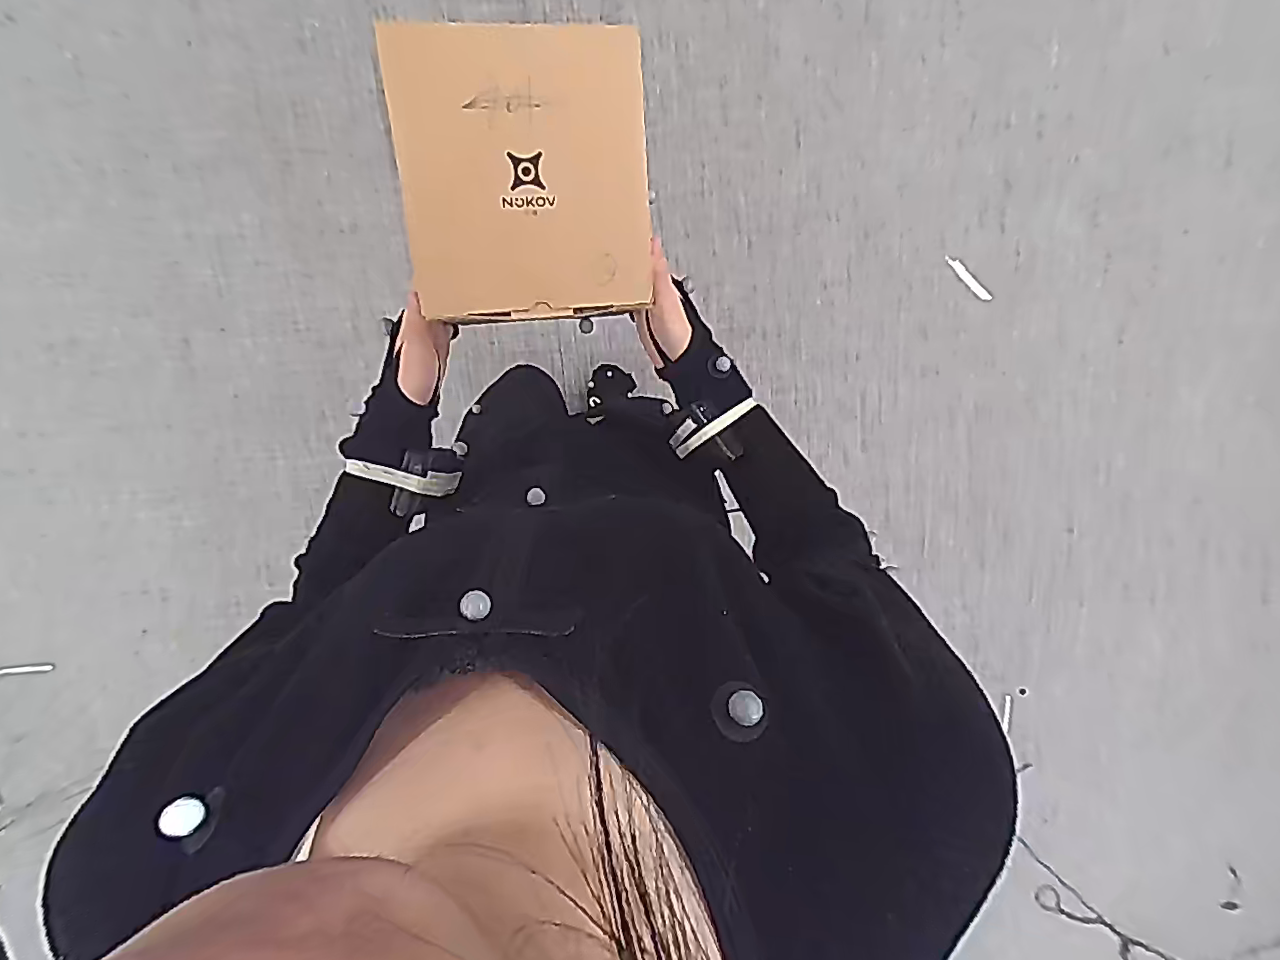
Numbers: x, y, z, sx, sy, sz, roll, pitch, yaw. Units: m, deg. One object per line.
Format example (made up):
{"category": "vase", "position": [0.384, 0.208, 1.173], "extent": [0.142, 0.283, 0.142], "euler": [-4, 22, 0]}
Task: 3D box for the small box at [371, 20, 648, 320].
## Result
{"category": "small box", "position": [-0.092, -0.224, 0.438], "extent": [0.168, 0.176, 0.179], "euler": [-7, 105, -9]}
